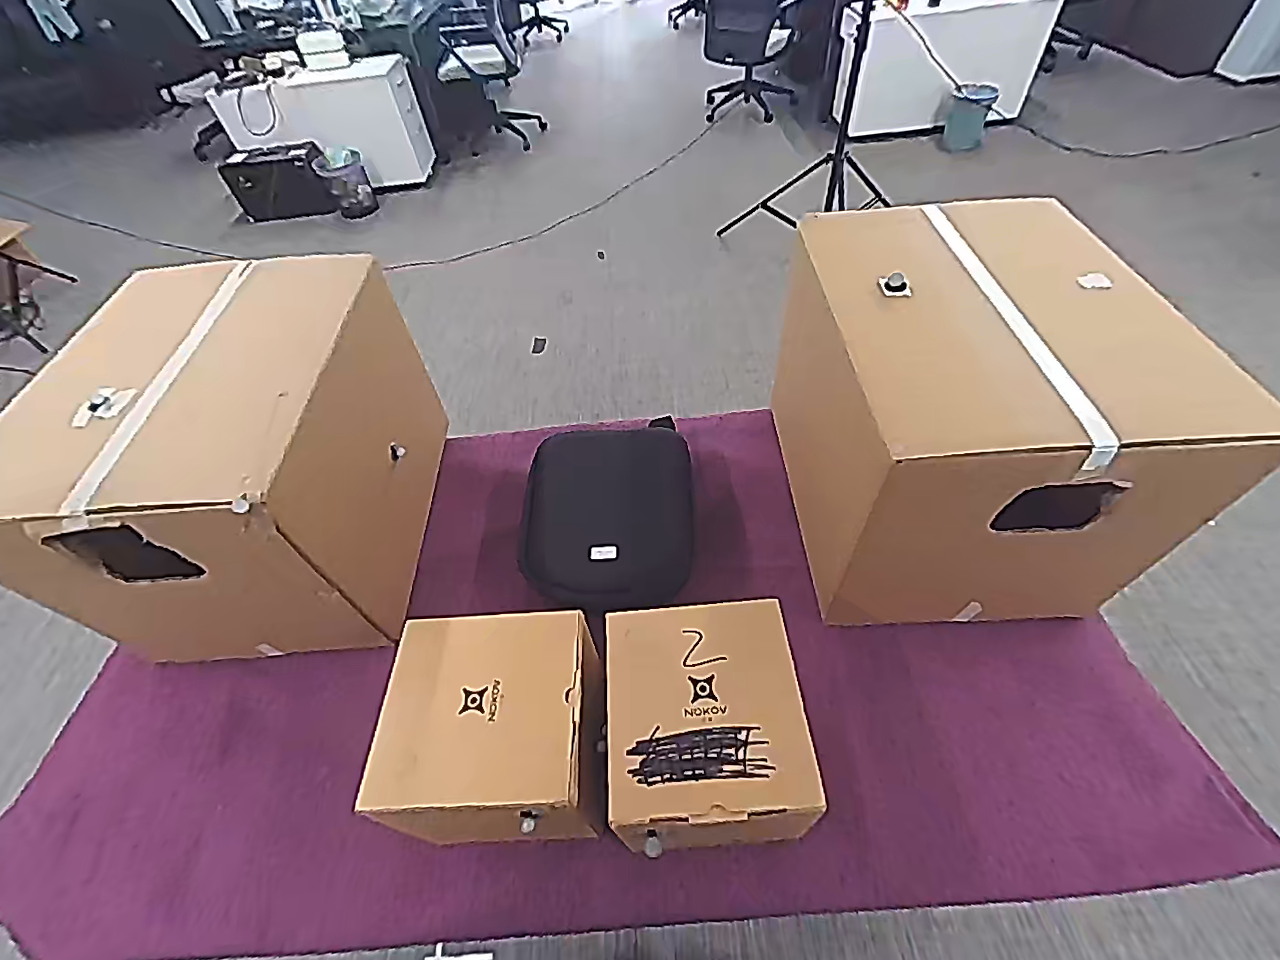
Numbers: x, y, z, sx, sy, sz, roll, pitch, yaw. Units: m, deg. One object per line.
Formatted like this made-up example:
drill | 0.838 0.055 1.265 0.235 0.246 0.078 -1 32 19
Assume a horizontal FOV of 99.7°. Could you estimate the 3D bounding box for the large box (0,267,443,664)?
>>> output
large box | -0.475 -0.020 0.700 0.320 0.320 0.408 -5 52 0
